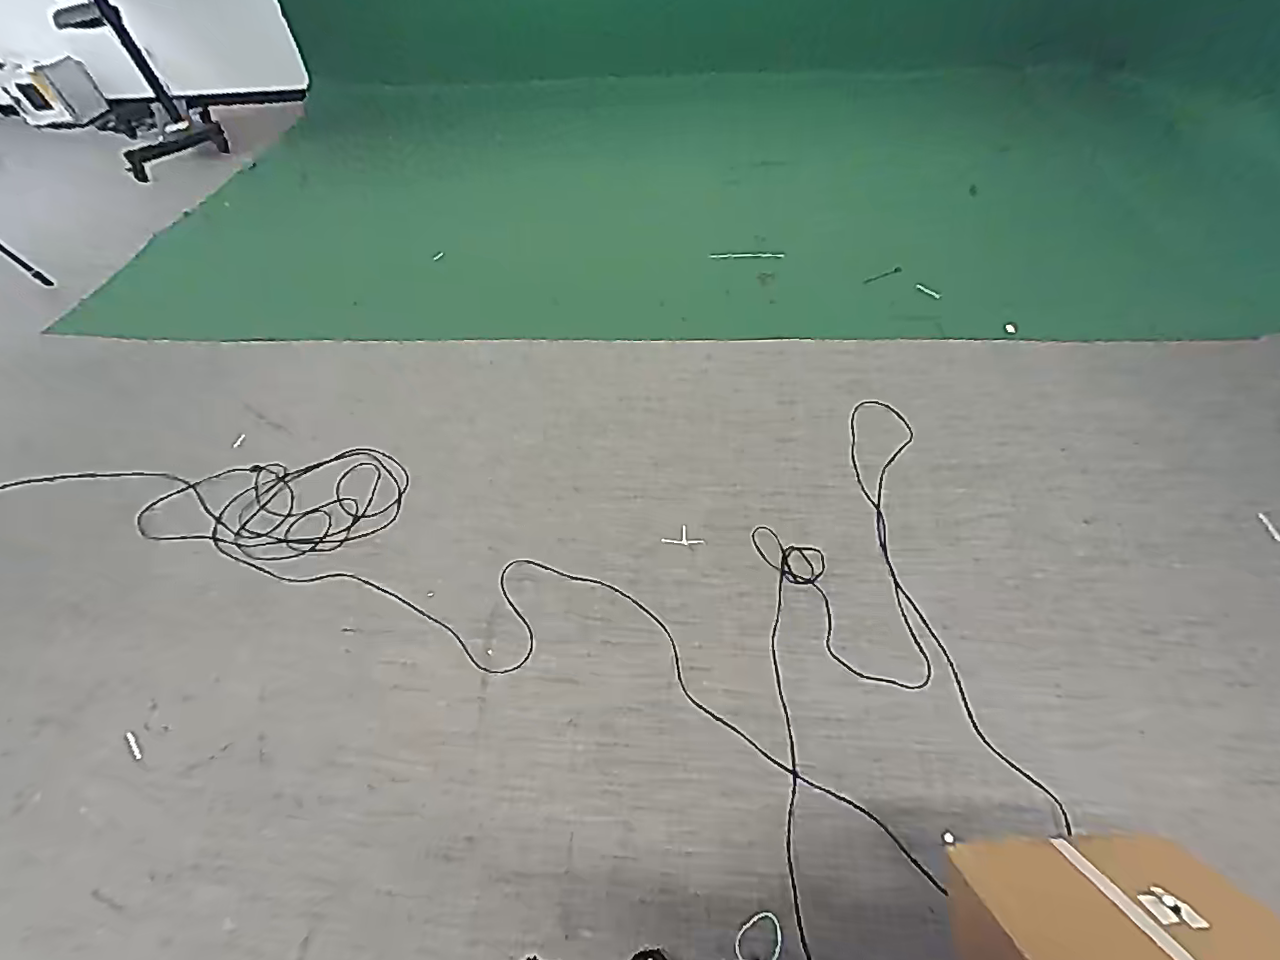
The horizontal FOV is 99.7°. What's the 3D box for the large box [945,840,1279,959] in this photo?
[{"bbox_3d":[0.607,0.687,0.596,0.320,0.408,0.320,-4,89,3],"label":"large box"}]
